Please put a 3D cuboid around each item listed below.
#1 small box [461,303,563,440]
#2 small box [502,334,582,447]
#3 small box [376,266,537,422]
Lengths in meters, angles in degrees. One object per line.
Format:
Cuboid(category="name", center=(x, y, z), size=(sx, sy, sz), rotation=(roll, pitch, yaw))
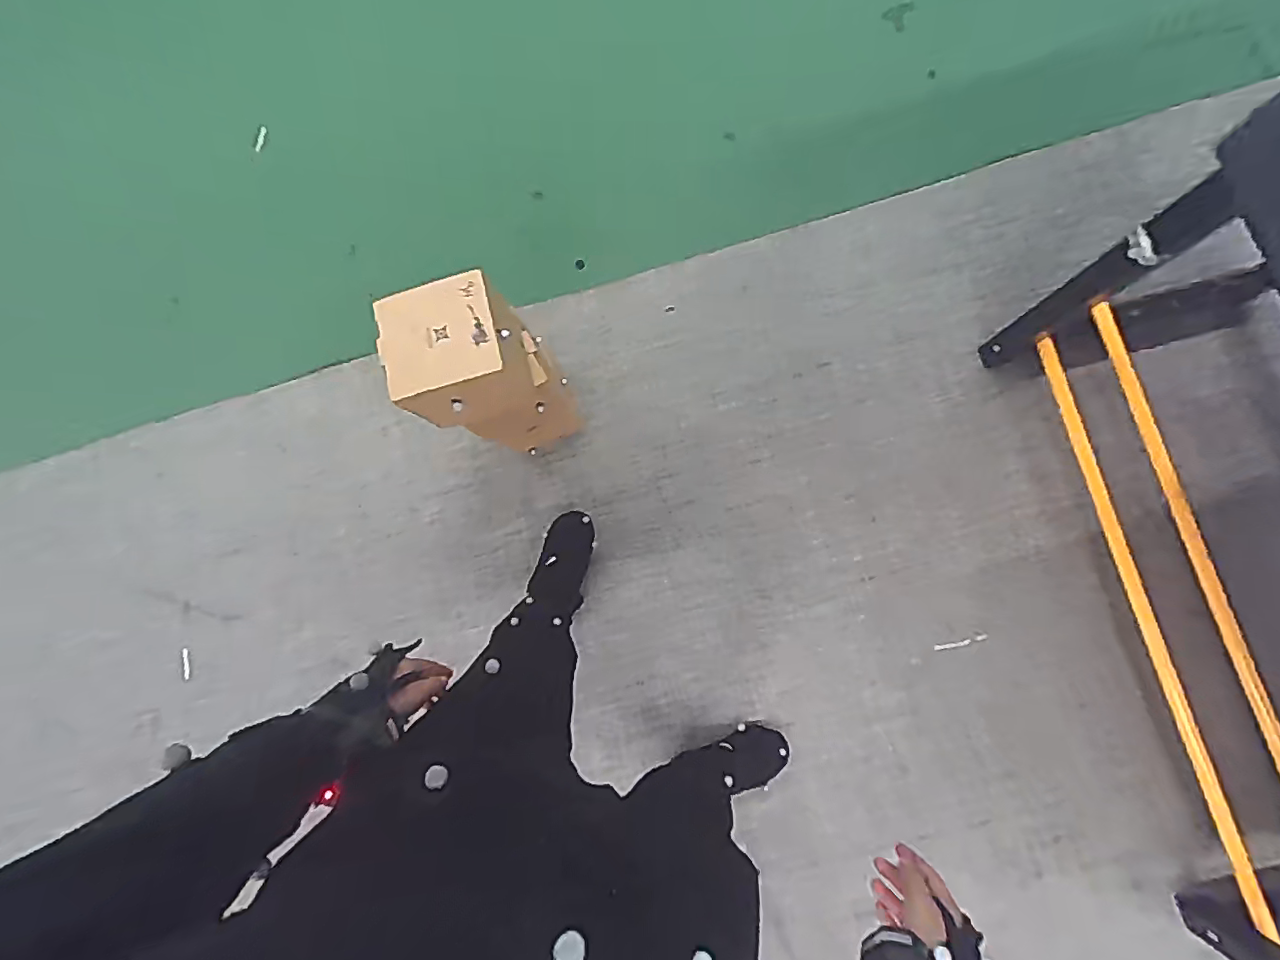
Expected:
Cuboid(category="small box", center=(-0.261, -0.198, 1.034), size=(0.179, 0.176, 0.168), rotation=(-28, 79, 2))
Cuboid(category="small box", center=(-0.243, -0.186, 1.195), size=(0.168, 0.176, 0.179), rotation=(-25, 80, 1))
Cuboid(category="small box", center=(-0.286, -0.206, 0.870), size=(0.179, 0.176, 0.168), rotation=(-15, 81, 4))
